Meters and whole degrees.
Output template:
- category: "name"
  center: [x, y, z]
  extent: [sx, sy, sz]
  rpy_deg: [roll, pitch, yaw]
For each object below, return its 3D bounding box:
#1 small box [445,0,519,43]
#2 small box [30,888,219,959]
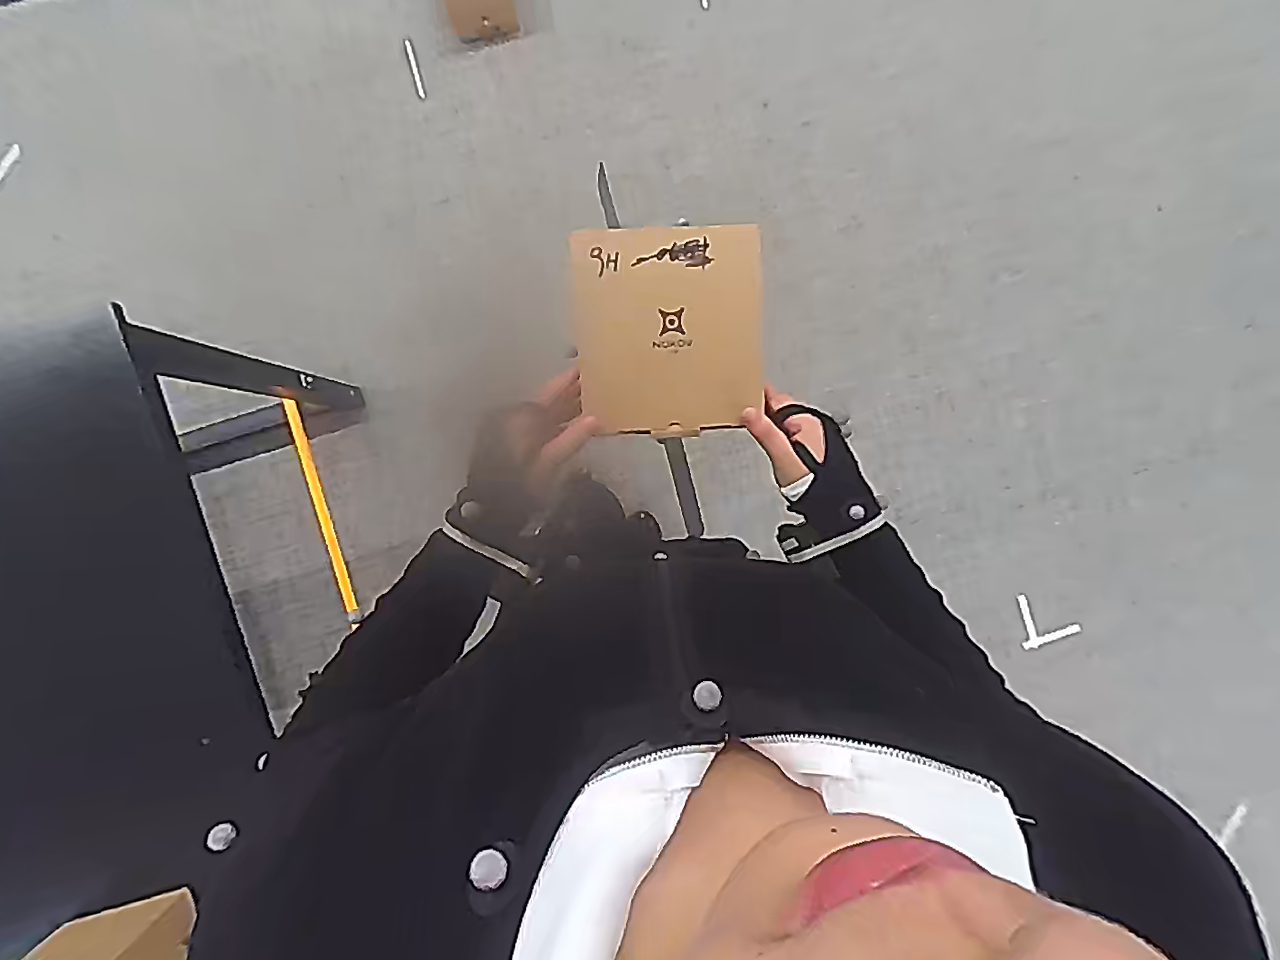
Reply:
- category: "small box"
  center: [-0.416, -1.259, 1.355]
  extent: [0.168, 0.176, 0.179]
  rpy_deg: [-15, 92, -1]
- category: "small box"
  center: [-0.679, 0.665, 0.673]
  extent: [0.179, 0.176, 0.168]
  rpy_deg: [-16, 93, -2]
